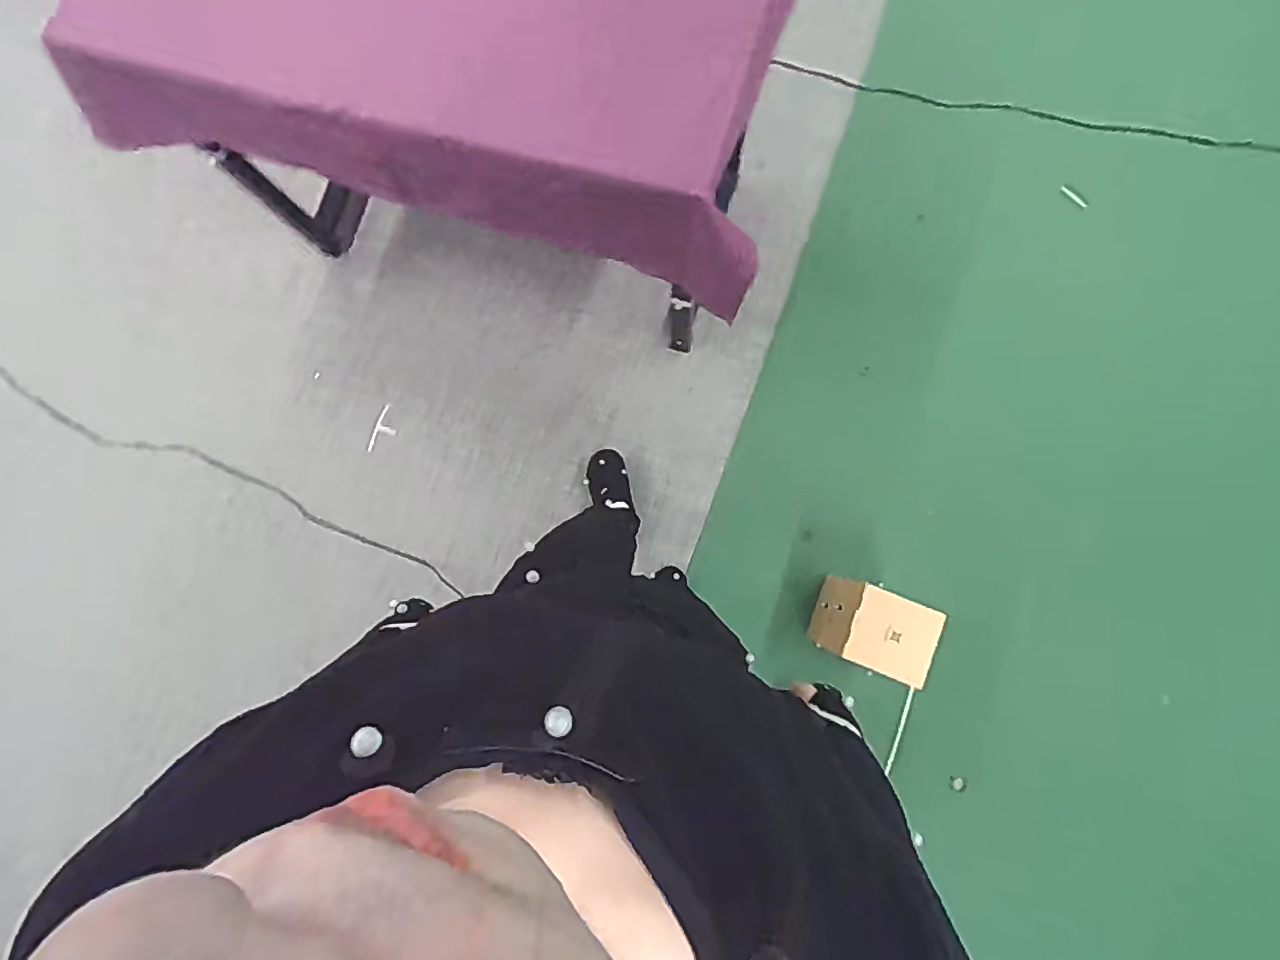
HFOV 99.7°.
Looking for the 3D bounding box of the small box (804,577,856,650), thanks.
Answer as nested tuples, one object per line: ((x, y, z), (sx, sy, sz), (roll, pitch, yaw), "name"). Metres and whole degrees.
((0.532, 0.359, 1.373), (0.168, 0.176, 0.179), (22, 83, 5), "small box")

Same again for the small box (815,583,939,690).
((0.521, 0.338, 1.212), (0.179, 0.176, 0.168), (22, 84, 6), "small box")
